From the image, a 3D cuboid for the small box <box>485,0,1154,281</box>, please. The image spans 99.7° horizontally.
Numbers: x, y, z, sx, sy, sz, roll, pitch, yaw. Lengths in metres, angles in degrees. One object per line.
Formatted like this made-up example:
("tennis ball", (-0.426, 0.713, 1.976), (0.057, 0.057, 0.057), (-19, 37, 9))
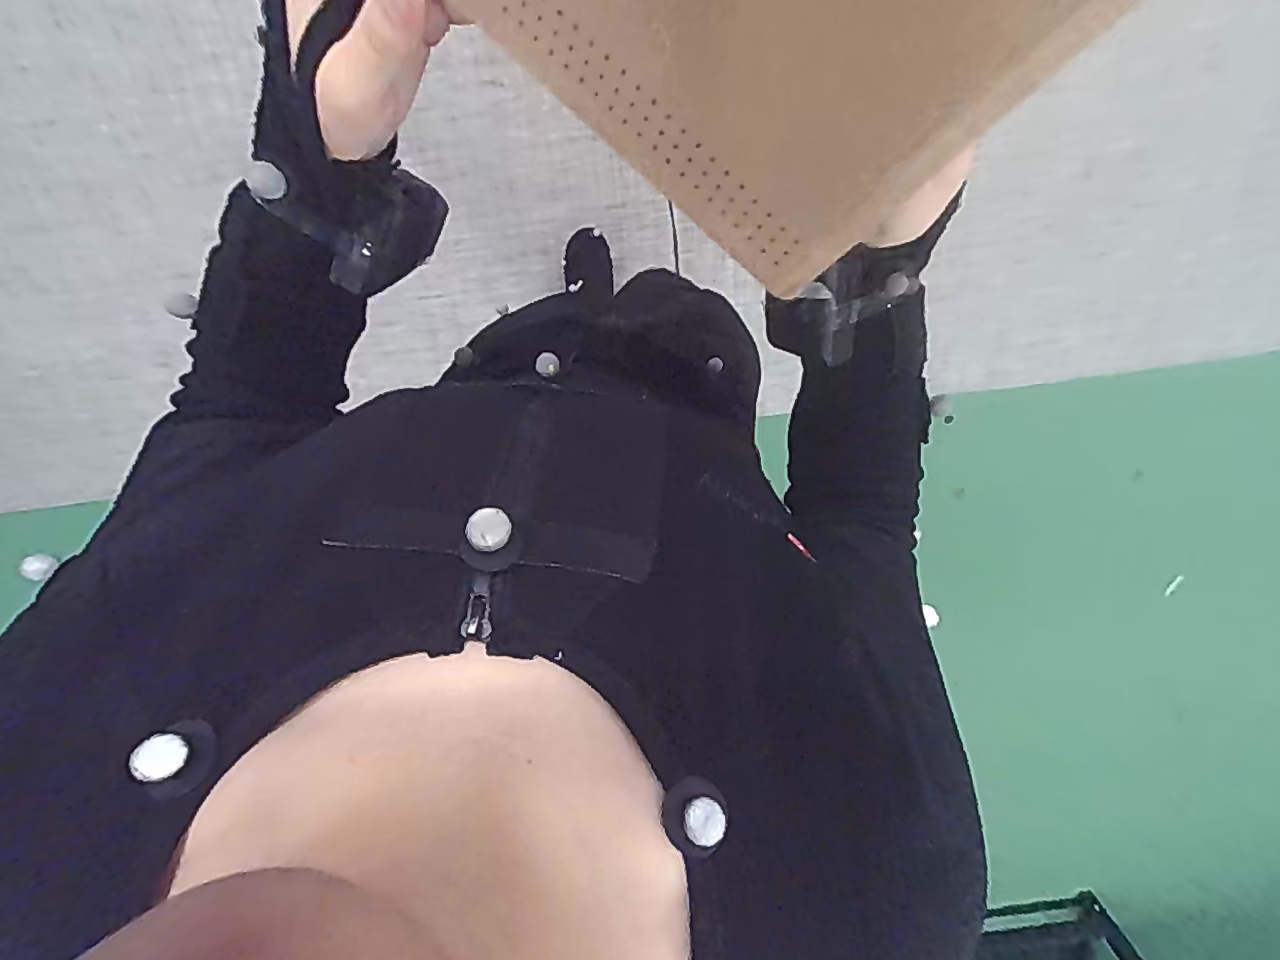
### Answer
("small box", (0.067, -0.196, 0.151), (0.179, 0.176, 0.168), (38, 73, -8))
